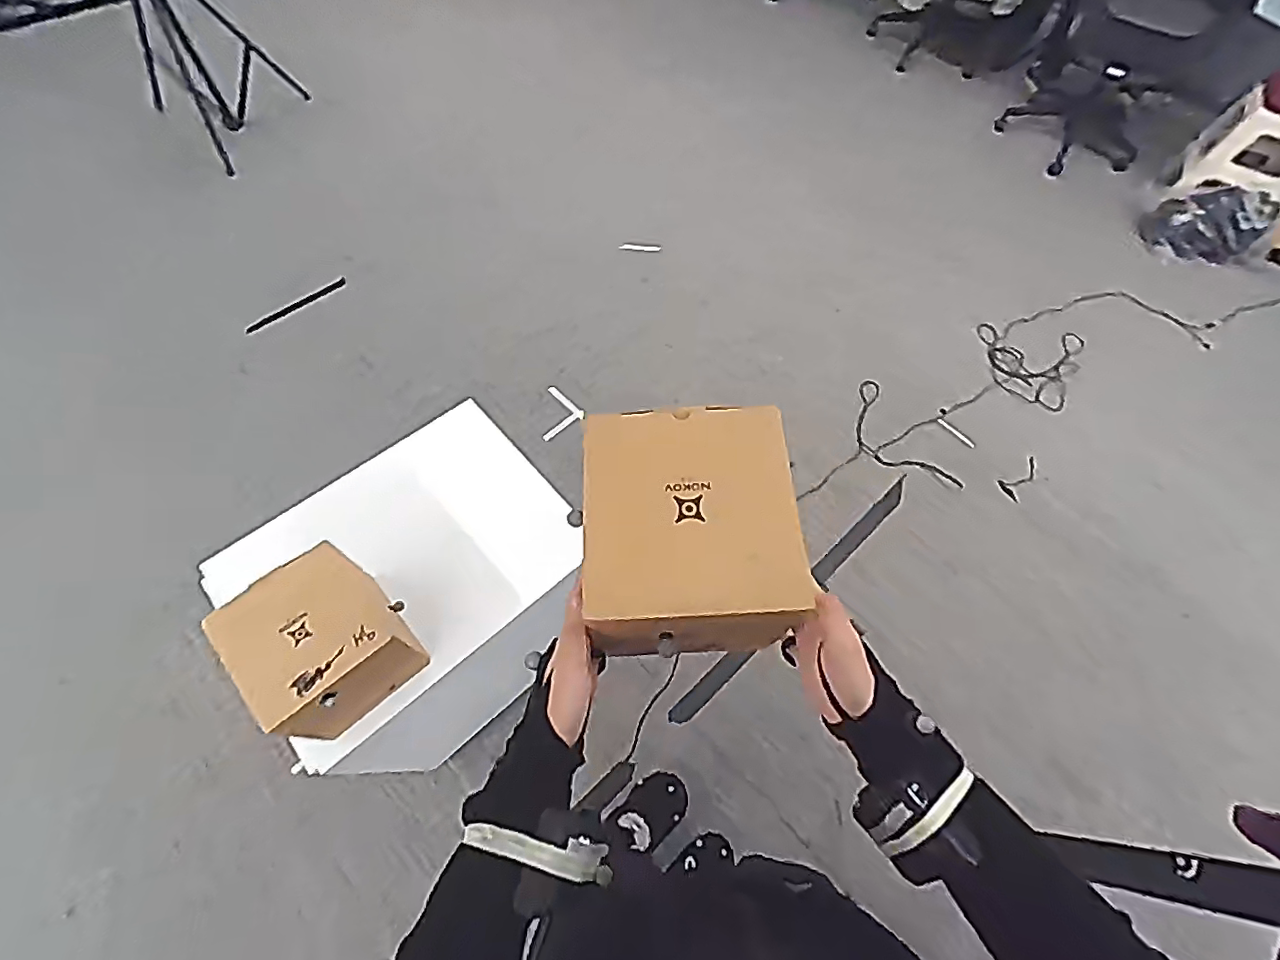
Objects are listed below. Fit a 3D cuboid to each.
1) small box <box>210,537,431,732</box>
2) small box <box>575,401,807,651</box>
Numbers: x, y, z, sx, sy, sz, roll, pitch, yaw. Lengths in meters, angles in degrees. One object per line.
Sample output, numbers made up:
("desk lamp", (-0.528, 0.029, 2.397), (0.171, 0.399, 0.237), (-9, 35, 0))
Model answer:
("small box", (-0.417, 0.216, 0.733), (0.168, 0.176, 0.179), (-38, 70, -21))
("small box", (0.036, 0.052, 0.483), (0.168, 0.176, 0.179), (-3, 63, 0))
